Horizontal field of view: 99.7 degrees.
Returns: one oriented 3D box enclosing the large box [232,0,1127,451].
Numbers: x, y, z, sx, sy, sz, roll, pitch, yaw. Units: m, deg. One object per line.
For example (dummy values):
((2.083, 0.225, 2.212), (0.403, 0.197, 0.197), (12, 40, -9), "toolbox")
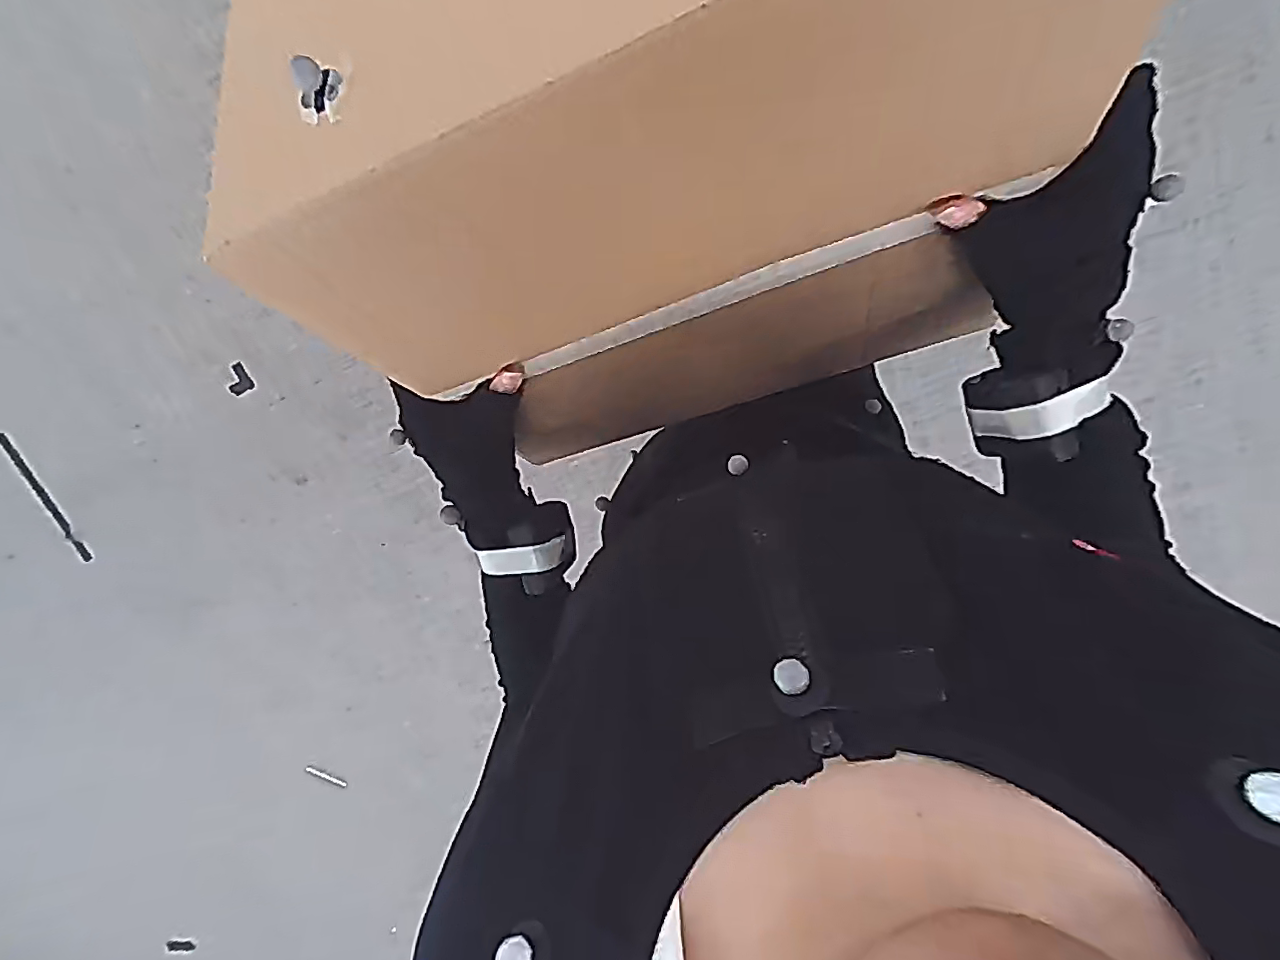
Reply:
((0.010, -0.261, 0.390), (0.408, 0.320, 0.320), (-16, 70, 13), "large box")
